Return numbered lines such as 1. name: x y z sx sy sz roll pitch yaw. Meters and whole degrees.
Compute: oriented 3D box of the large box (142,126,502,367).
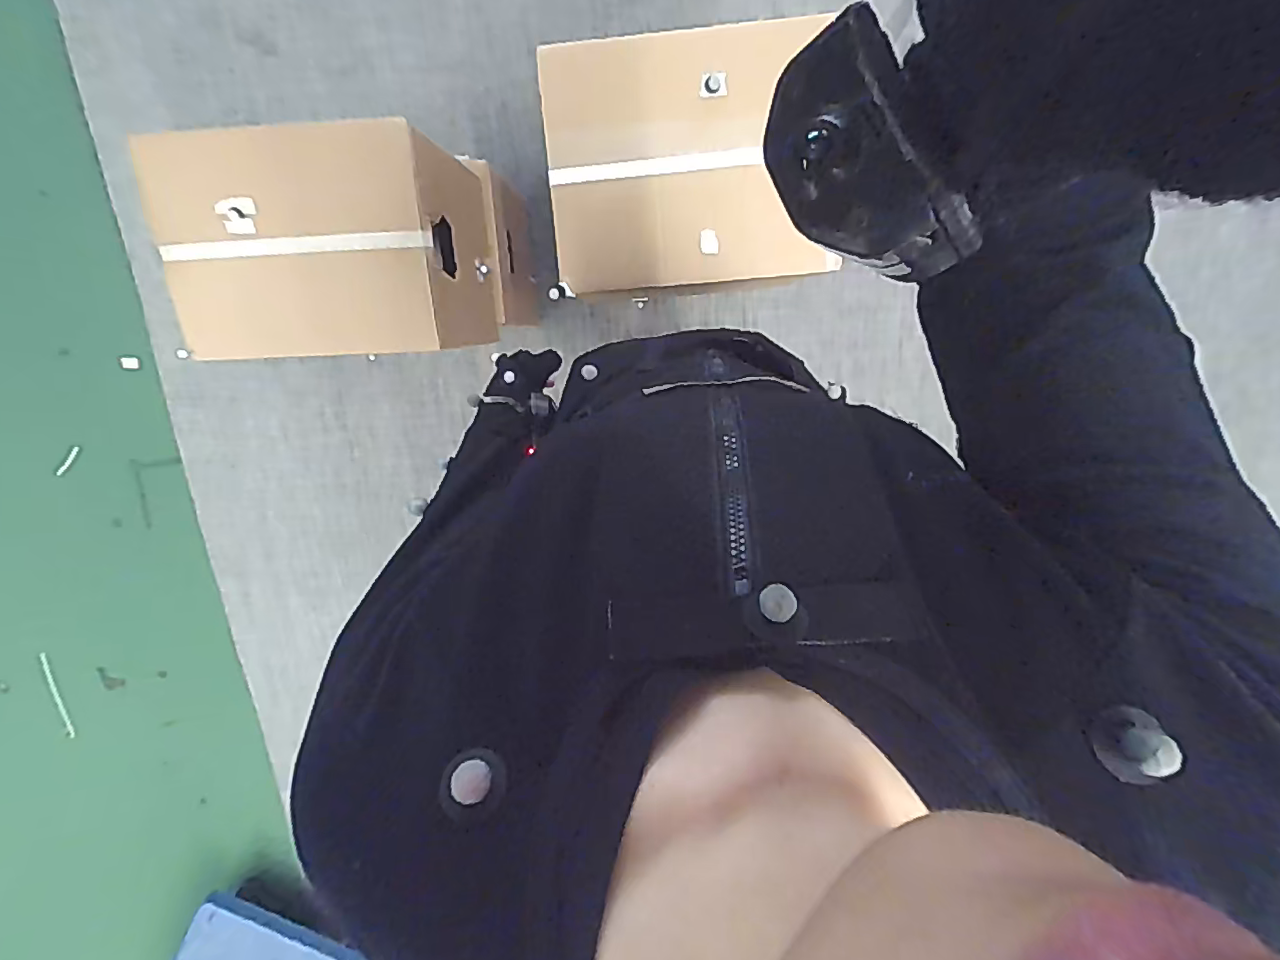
1. large box: -0.493 -0.373 0.936 0.408 0.320 0.320 -1 106 4
